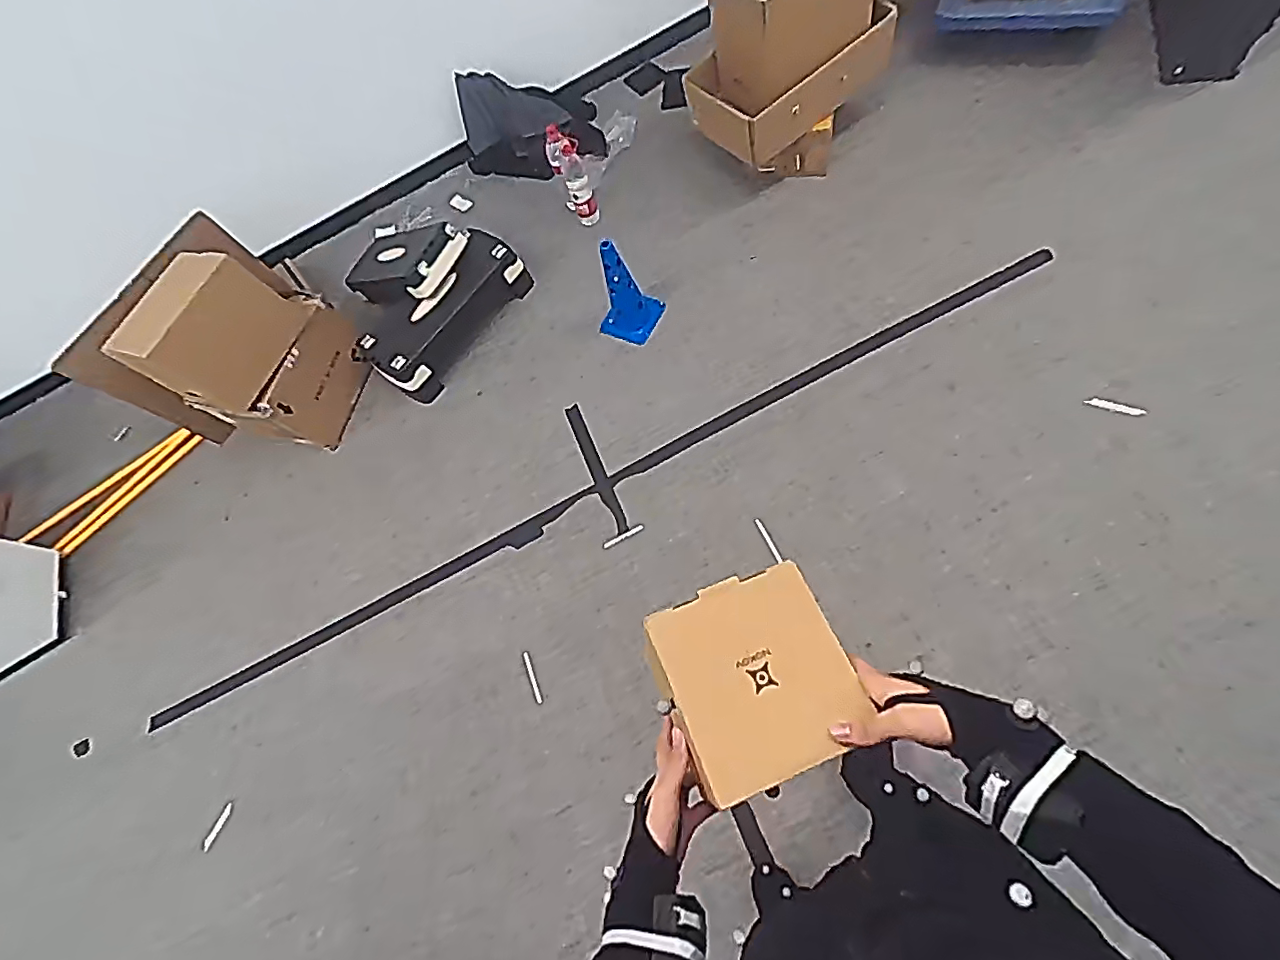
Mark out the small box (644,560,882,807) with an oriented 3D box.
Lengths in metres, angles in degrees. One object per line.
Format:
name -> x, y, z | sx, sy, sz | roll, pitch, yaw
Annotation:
small box -> 0.112, 0.214, 0.573 | 0.168, 0.176, 0.179 | -20, 63, -9
